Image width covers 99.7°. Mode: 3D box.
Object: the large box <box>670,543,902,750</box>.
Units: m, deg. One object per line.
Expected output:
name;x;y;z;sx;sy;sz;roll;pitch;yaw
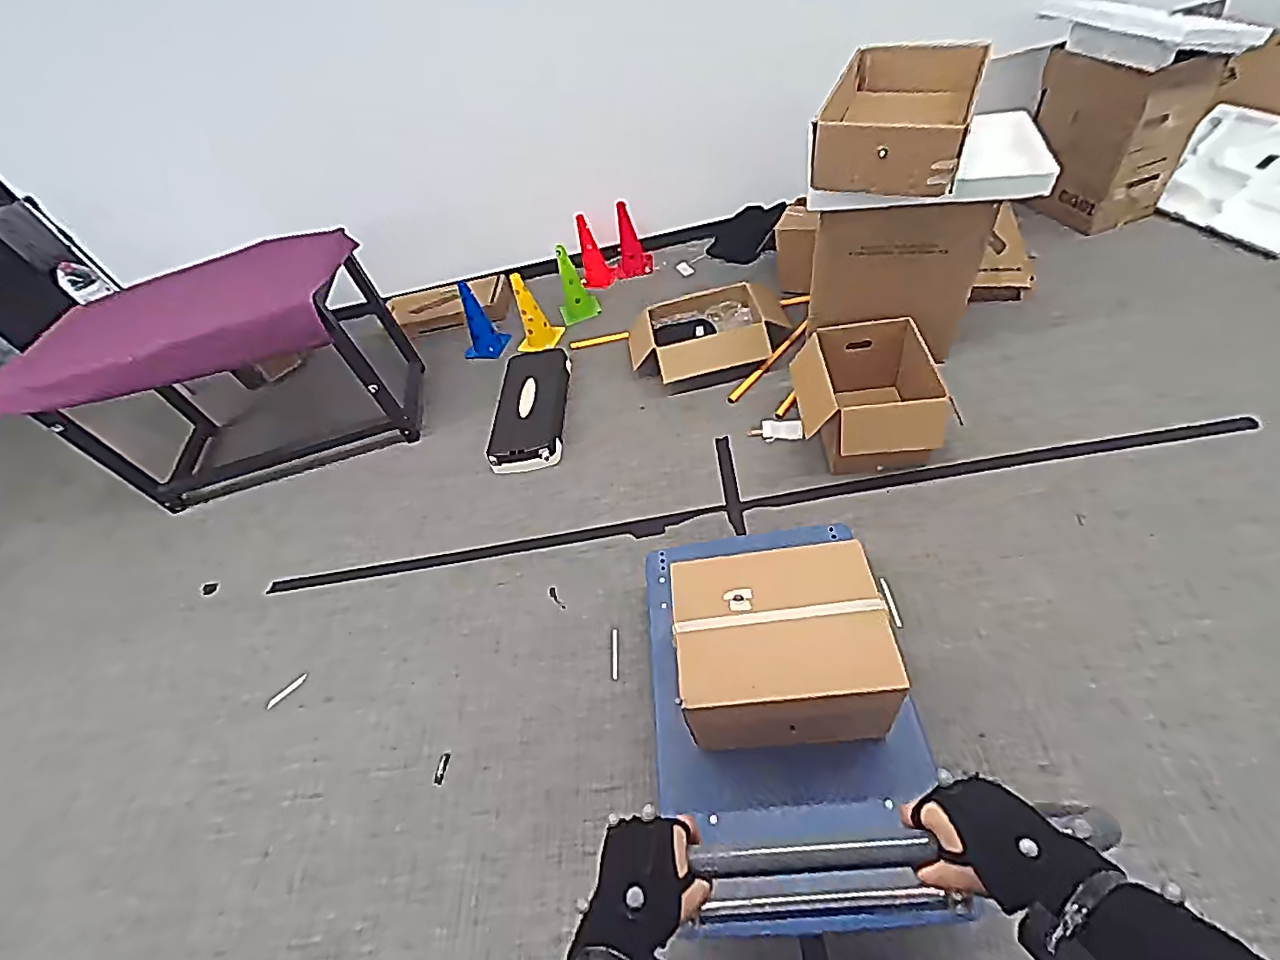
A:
large box;0.298;0.376;1.186;0.408;0.320;0.320;-10;48;8
